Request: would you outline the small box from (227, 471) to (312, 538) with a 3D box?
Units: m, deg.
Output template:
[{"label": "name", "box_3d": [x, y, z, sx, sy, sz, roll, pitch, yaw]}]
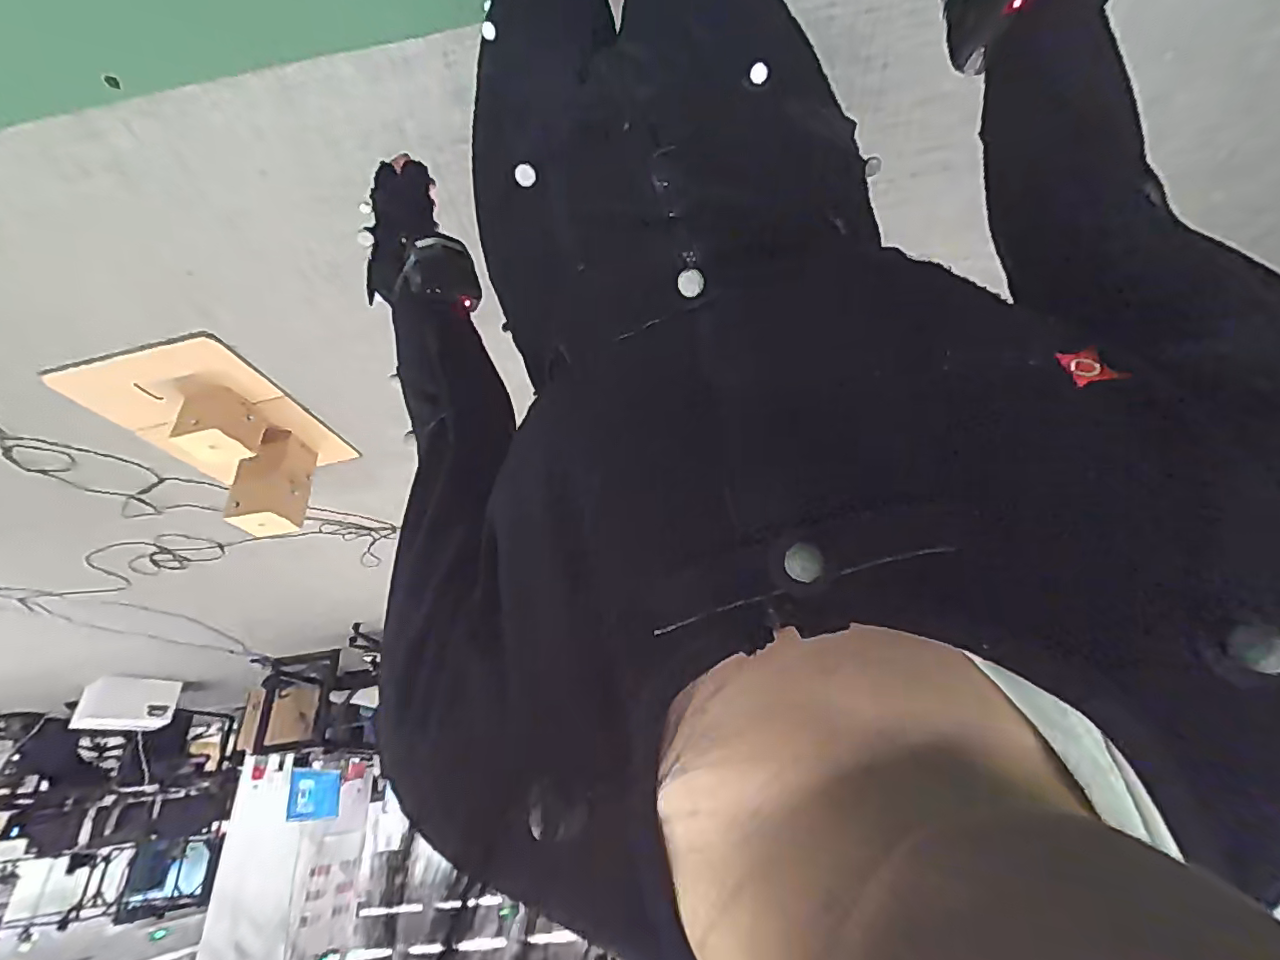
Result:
[{"label": "small box", "box_3d": [-1.309, 0.087, 1.925, 0.179, 0.176, 0.168, -10, 151, 4]}]

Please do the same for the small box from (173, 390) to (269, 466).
[{"label": "small box", "box_3d": [-1.383, -0.173, 1.799, 0.179, 0.176, 0.168, -12, 149, 8]}]
